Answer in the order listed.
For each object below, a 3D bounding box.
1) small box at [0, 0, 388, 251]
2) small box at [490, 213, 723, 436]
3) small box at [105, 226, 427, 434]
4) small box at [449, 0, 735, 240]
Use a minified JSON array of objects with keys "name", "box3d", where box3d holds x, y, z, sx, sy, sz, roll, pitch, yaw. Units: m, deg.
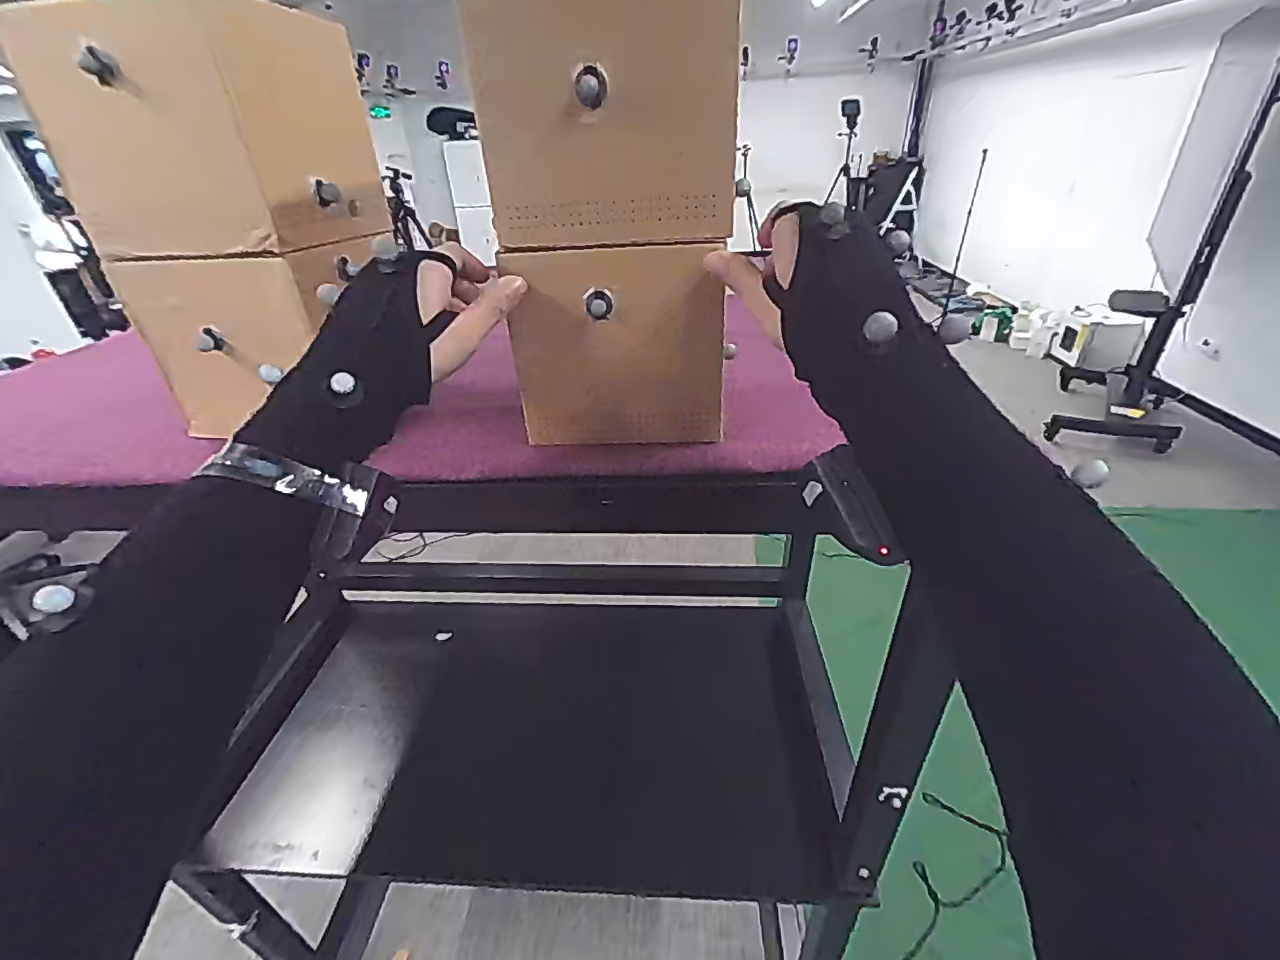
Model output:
[{"name":"small box","box3d":[-0.355,-0.295,0.463,0.179,0.176,0.168,3,32,9]},{"name":"small box","box3d":[-0.015,-0.149,0.503,0.179,0.176,0.168,-1,33,5]},{"name":"small box","box3d":[-0.349,-0.154,0.546,0.179,0.176,0.168,1,31,8]},{"name":"small box","box3d":[-0.022,-0.289,0.417,0.179,0.176,0.168,-2,32,4]}]
